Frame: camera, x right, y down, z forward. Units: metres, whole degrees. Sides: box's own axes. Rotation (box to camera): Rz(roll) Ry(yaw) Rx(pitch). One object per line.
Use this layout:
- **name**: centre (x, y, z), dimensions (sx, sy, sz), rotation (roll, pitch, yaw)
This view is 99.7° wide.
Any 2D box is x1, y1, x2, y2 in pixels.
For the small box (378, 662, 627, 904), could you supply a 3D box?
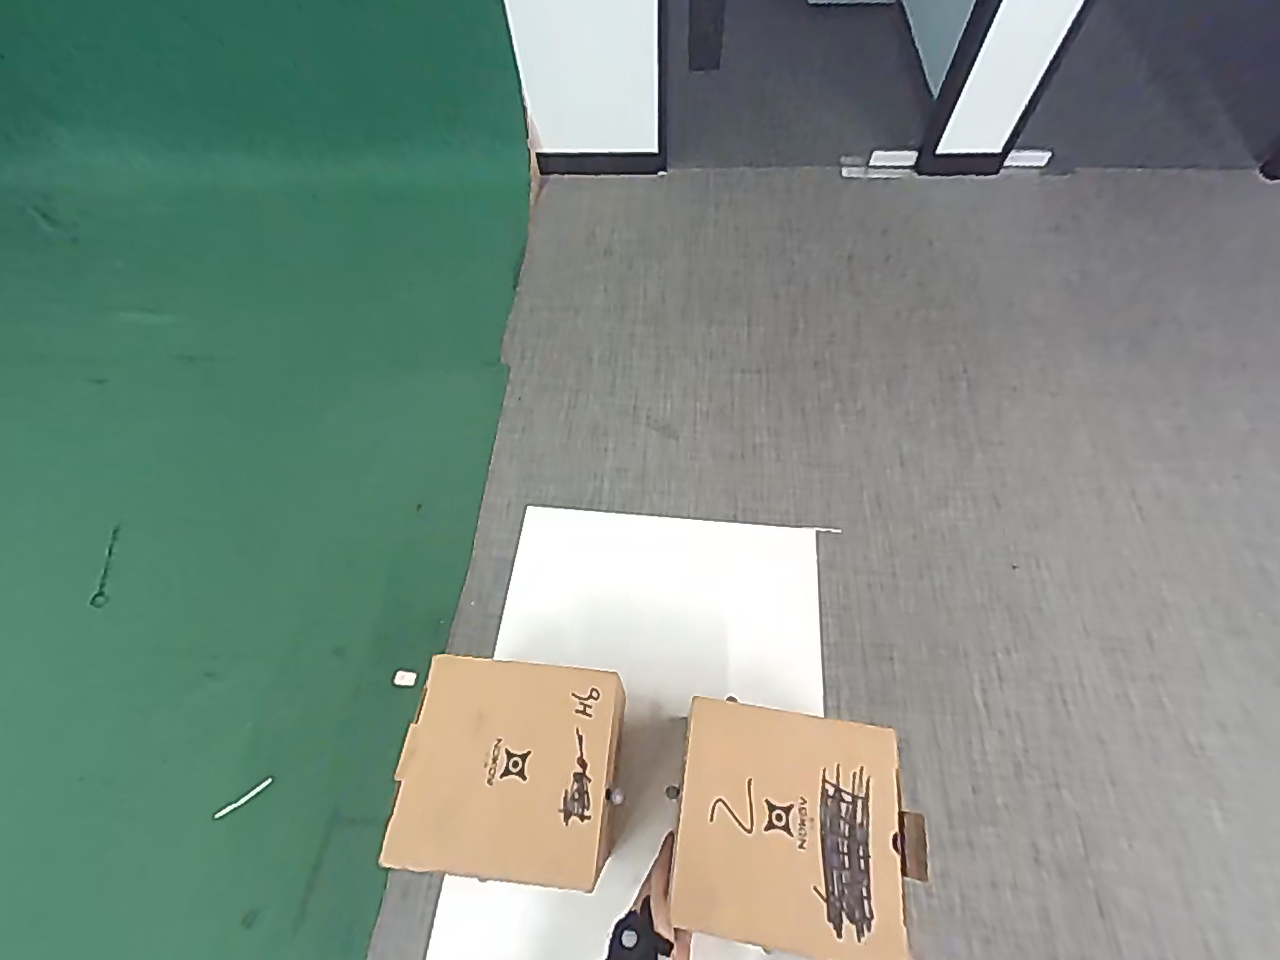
- **small box**: centre (-0.112, 0.286, 0.529), dimensions (0.179, 0.176, 0.168), rotation (5, 62, 4)
